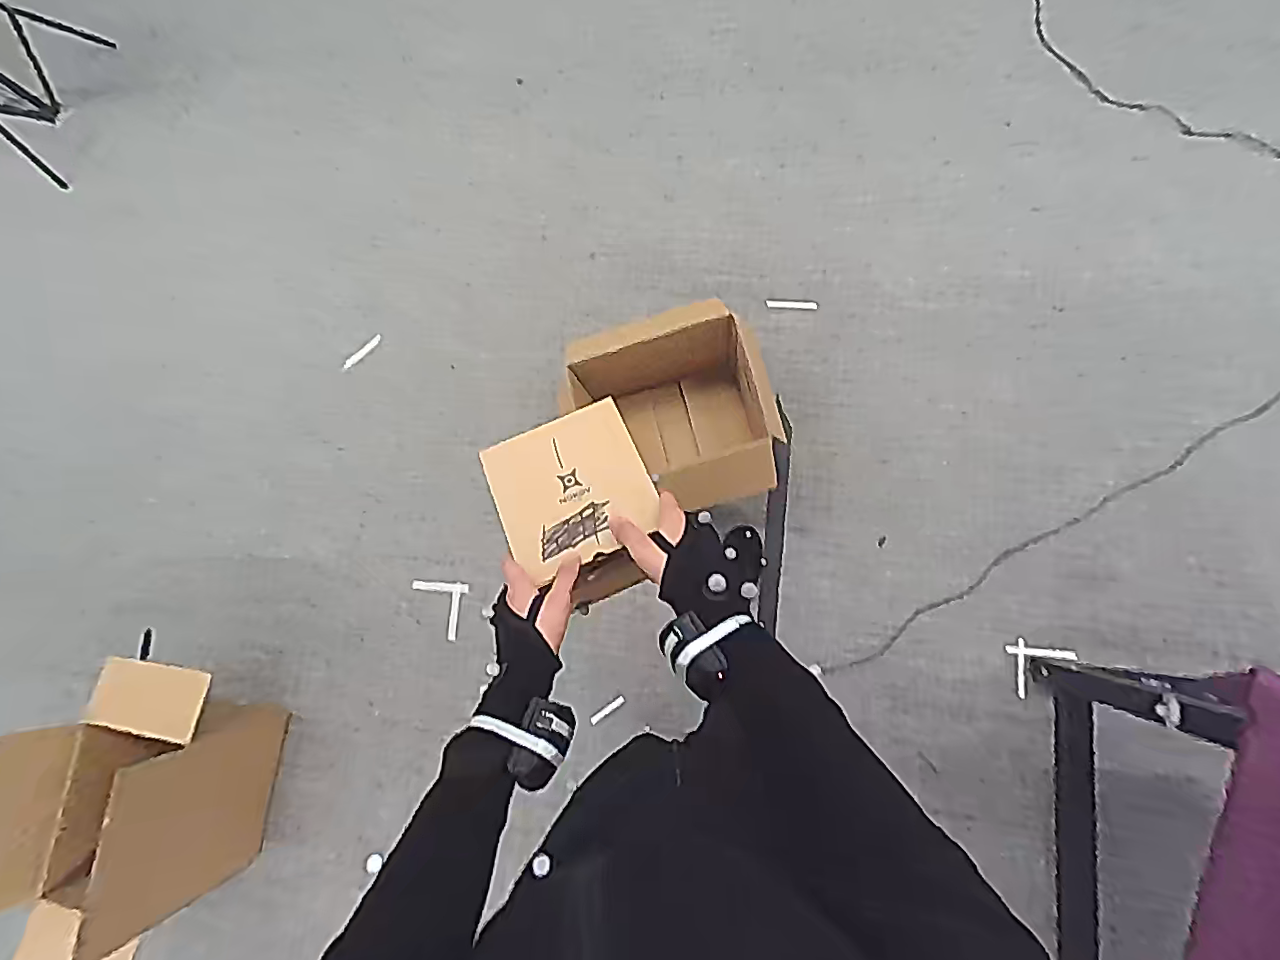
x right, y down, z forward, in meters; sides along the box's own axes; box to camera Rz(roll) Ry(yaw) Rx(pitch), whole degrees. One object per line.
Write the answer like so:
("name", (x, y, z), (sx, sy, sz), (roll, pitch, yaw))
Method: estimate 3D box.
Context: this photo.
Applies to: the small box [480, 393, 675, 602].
("small box", (-0.065, 0.033, 0.651), (0.168, 0.176, 0.179), (-24, 66, -4))
